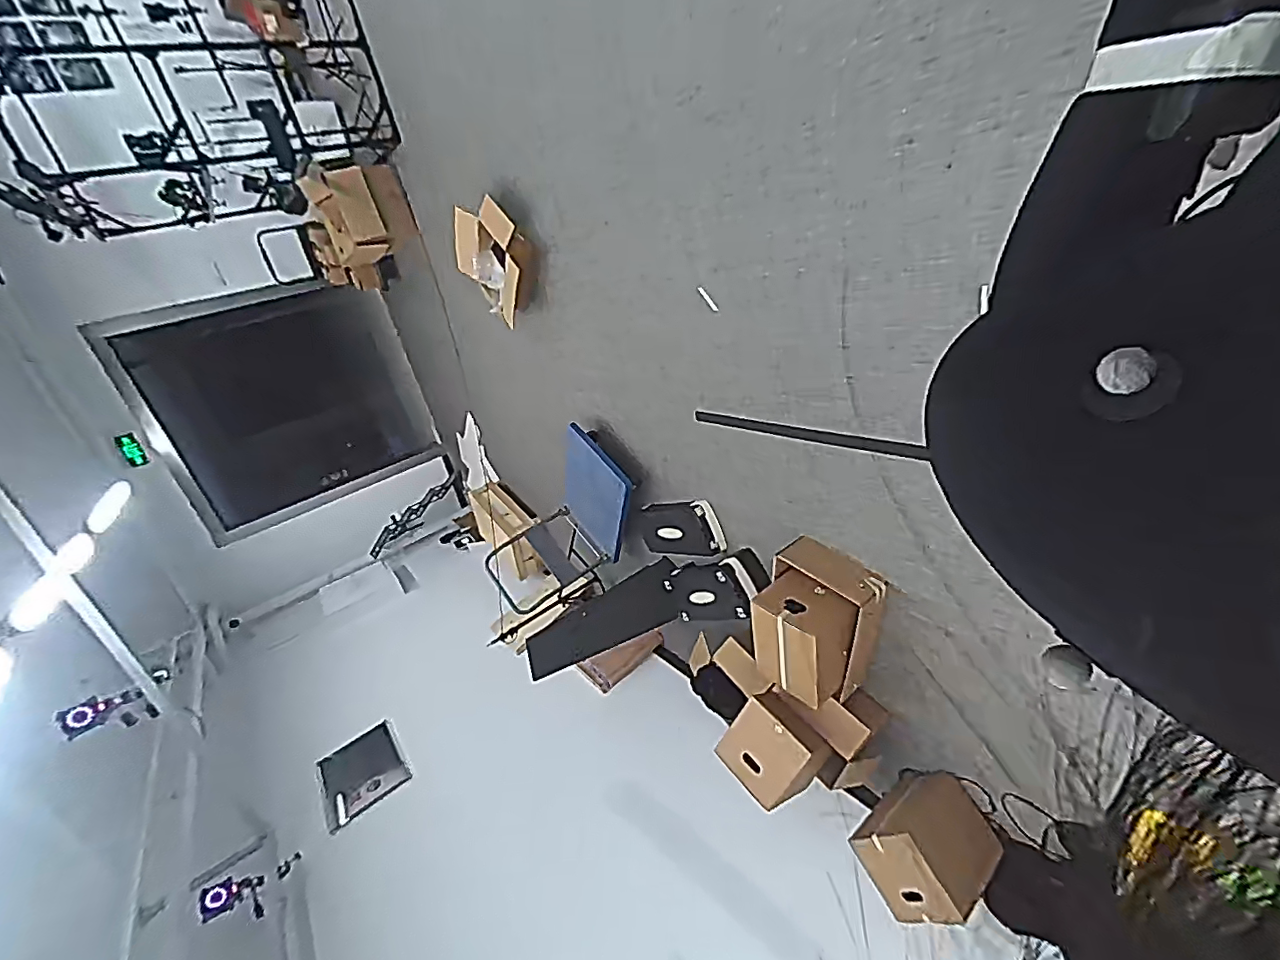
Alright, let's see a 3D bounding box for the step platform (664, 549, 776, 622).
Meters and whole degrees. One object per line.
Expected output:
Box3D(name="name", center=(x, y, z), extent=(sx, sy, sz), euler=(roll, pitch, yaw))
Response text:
Box3D(name="step platform", center=(0.389, 0.570, 2.829), extent=(0.286, 0.204, 0.684), euler=(61, 150, 2))
